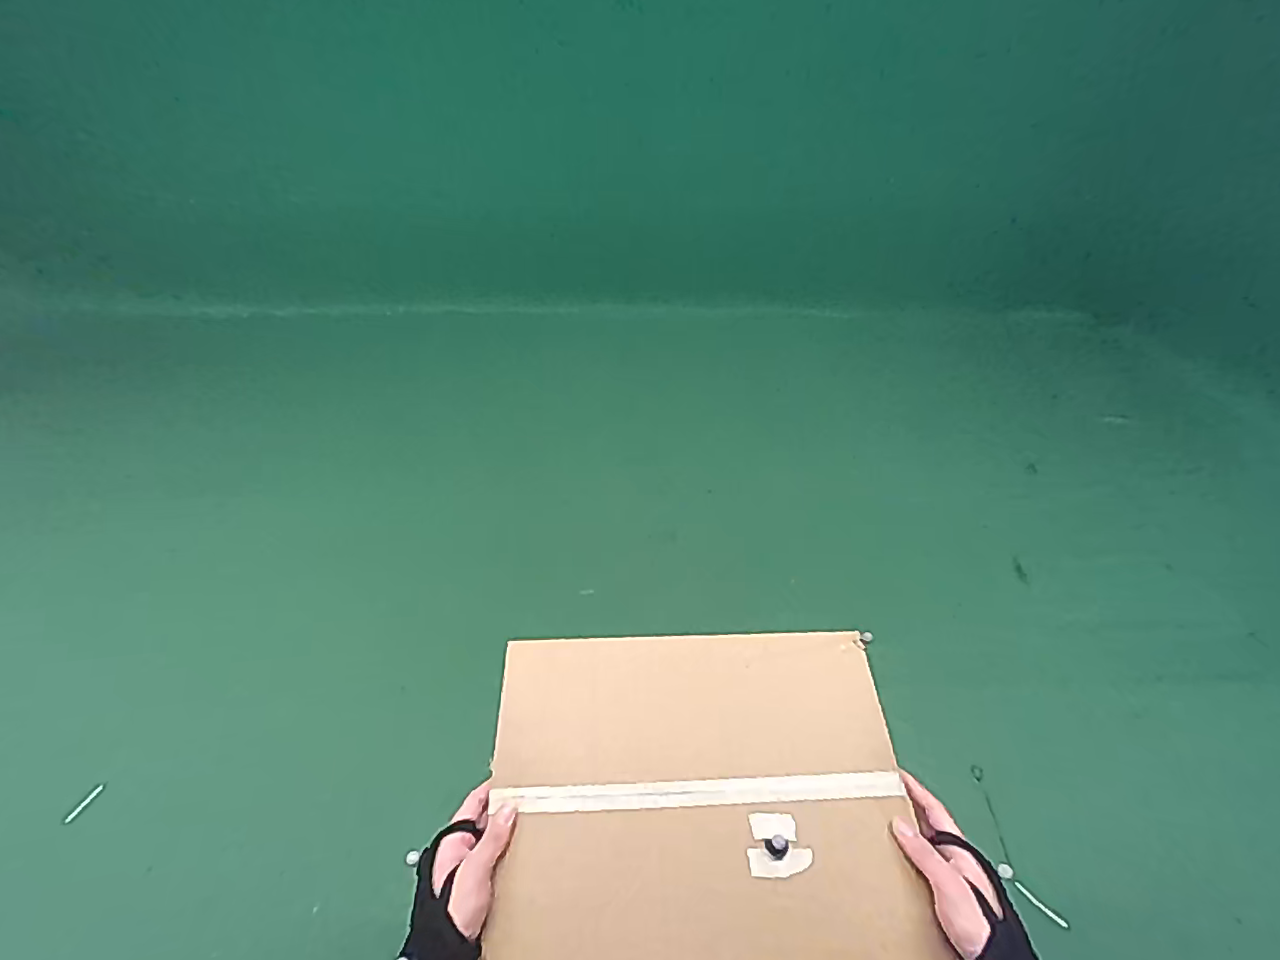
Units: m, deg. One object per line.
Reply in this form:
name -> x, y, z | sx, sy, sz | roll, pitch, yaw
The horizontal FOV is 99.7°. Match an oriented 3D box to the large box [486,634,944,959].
large box -> 0.054, 0.402, 0.659 | 0.408, 0.320, 0.320 | -1, 54, -3
